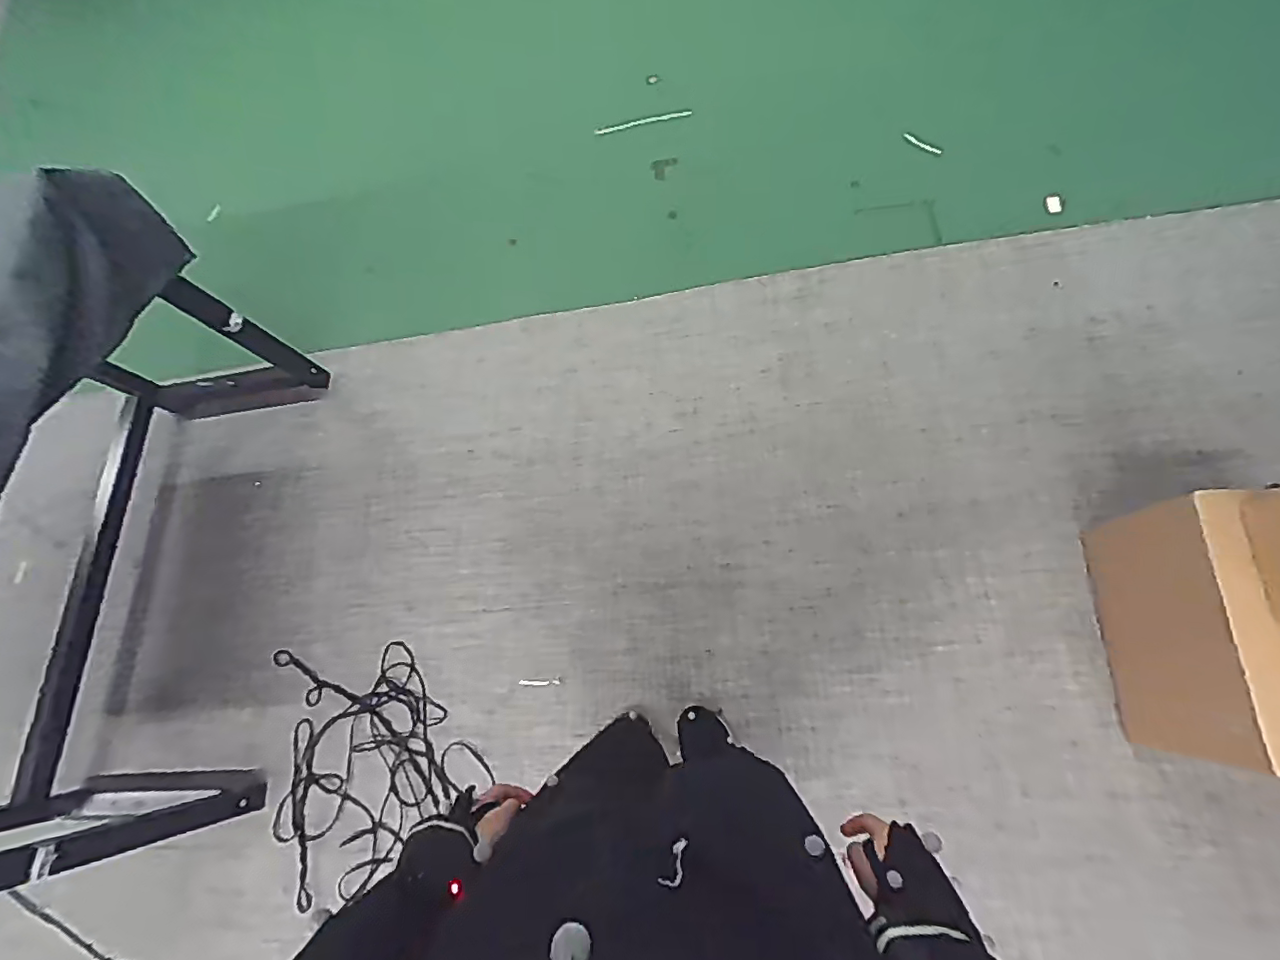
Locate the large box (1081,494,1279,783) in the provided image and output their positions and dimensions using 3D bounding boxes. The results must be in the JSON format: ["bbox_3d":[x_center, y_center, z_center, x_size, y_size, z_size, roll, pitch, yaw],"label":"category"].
[{"bbox_3d":[1.023,0.248,0.890,0.320,0.320,0.408,-3,73,12],"label":"large box"}]
